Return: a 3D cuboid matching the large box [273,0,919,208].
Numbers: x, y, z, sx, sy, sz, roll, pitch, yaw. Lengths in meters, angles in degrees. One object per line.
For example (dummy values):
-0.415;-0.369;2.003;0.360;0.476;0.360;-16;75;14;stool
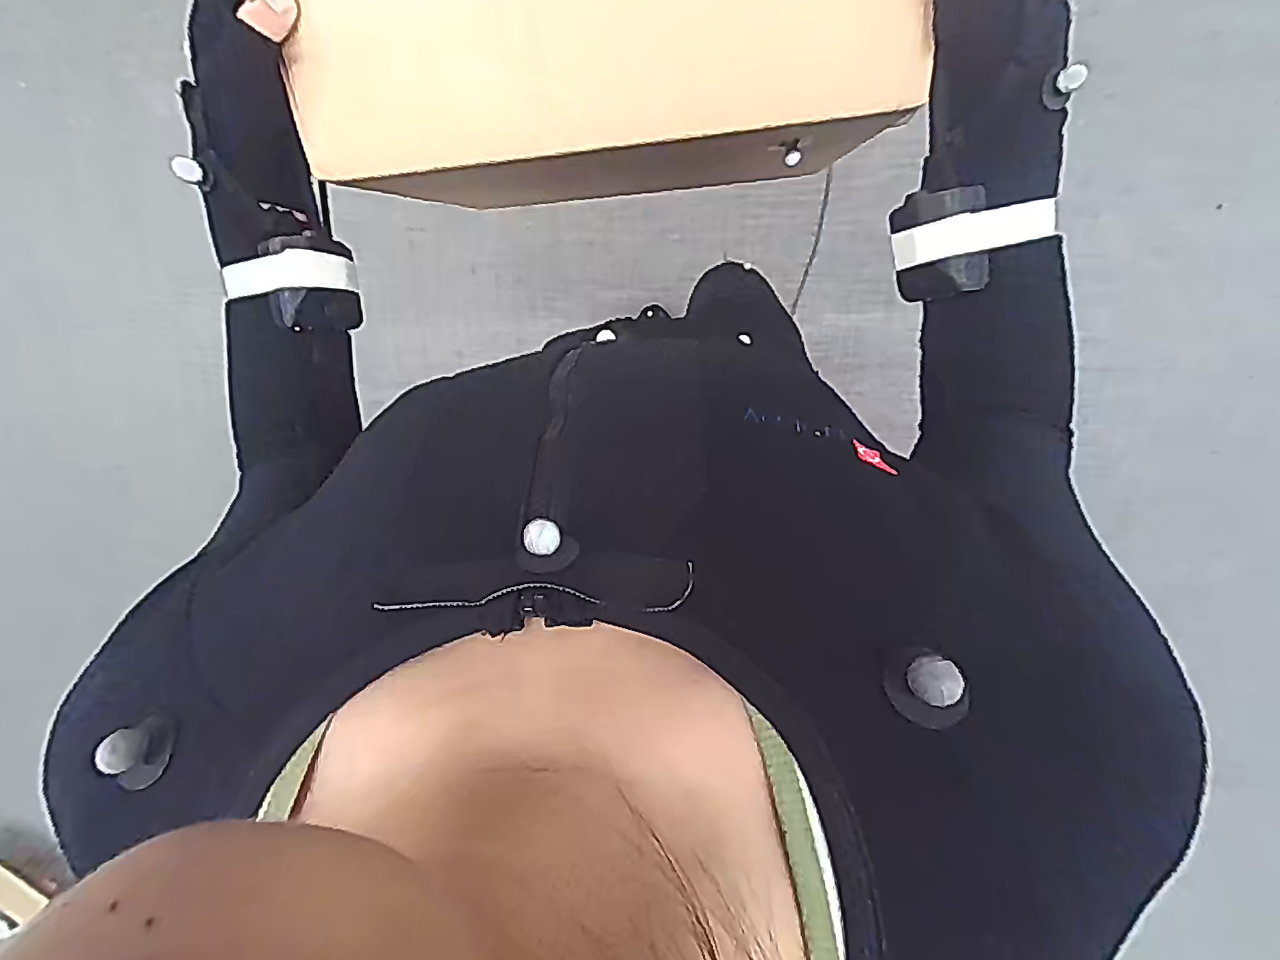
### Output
-0.028;-0.421;0.441;0.408;0.320;0.320;-3;112;6;large box
